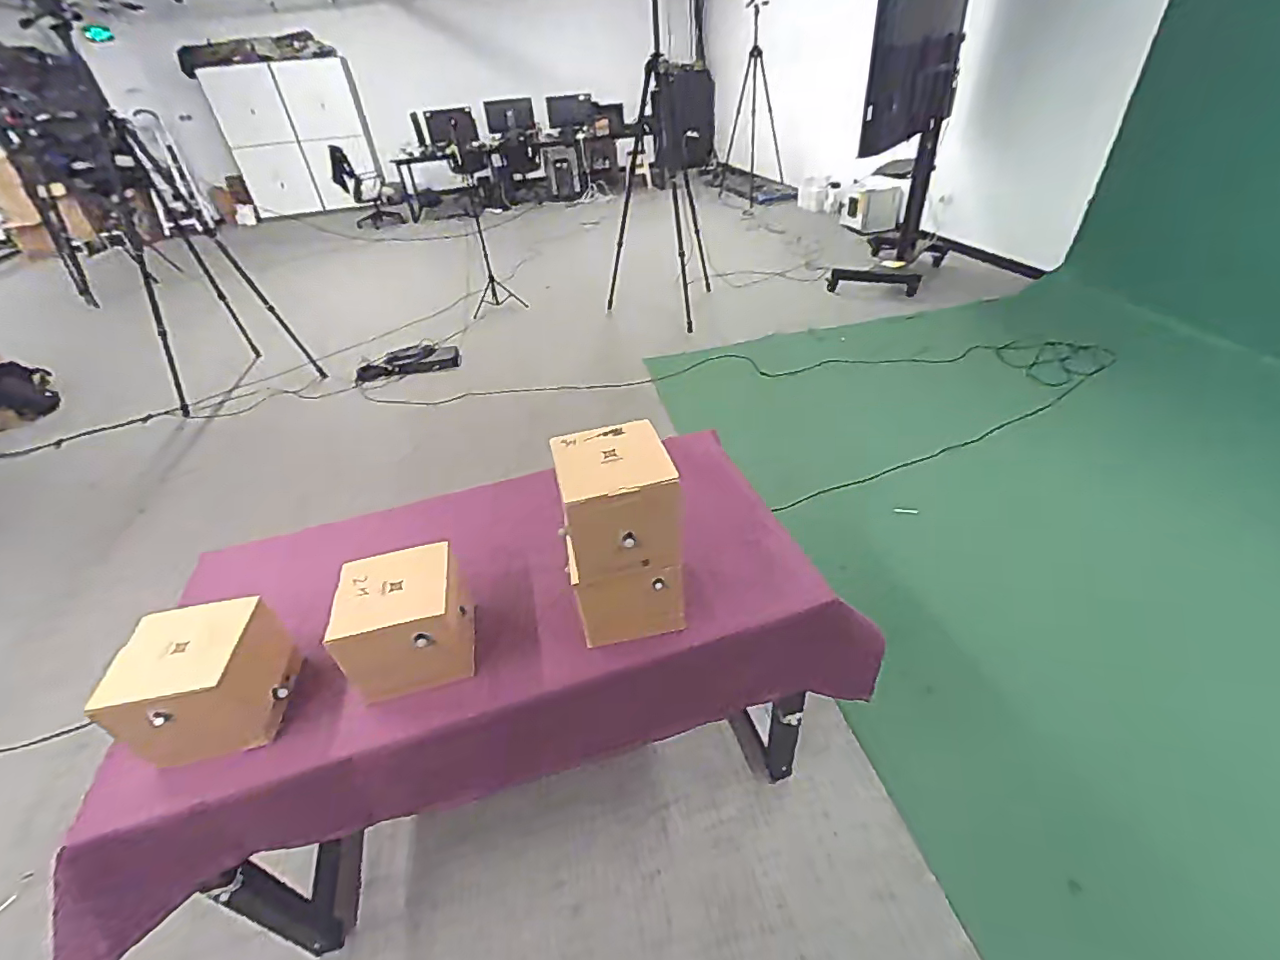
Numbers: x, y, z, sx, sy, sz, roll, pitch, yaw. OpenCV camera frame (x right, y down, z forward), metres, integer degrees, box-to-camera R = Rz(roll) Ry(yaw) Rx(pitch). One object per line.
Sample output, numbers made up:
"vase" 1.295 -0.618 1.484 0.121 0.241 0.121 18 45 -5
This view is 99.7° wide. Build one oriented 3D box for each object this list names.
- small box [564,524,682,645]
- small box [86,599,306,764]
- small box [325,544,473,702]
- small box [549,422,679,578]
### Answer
"small box" -0.029 0.166 0.951 0.179 0.176 0.168 -10 38 -5
"small box" -0.669 0.315 0.844 0.179 0.176 0.168 -9 38 -5
"small box" -0.385 0.238 0.903 0.179 0.176 0.168 -12 37 -8
"small box" -0.040 0.035 0.852 0.168 0.176 0.179 -12 38 -9
